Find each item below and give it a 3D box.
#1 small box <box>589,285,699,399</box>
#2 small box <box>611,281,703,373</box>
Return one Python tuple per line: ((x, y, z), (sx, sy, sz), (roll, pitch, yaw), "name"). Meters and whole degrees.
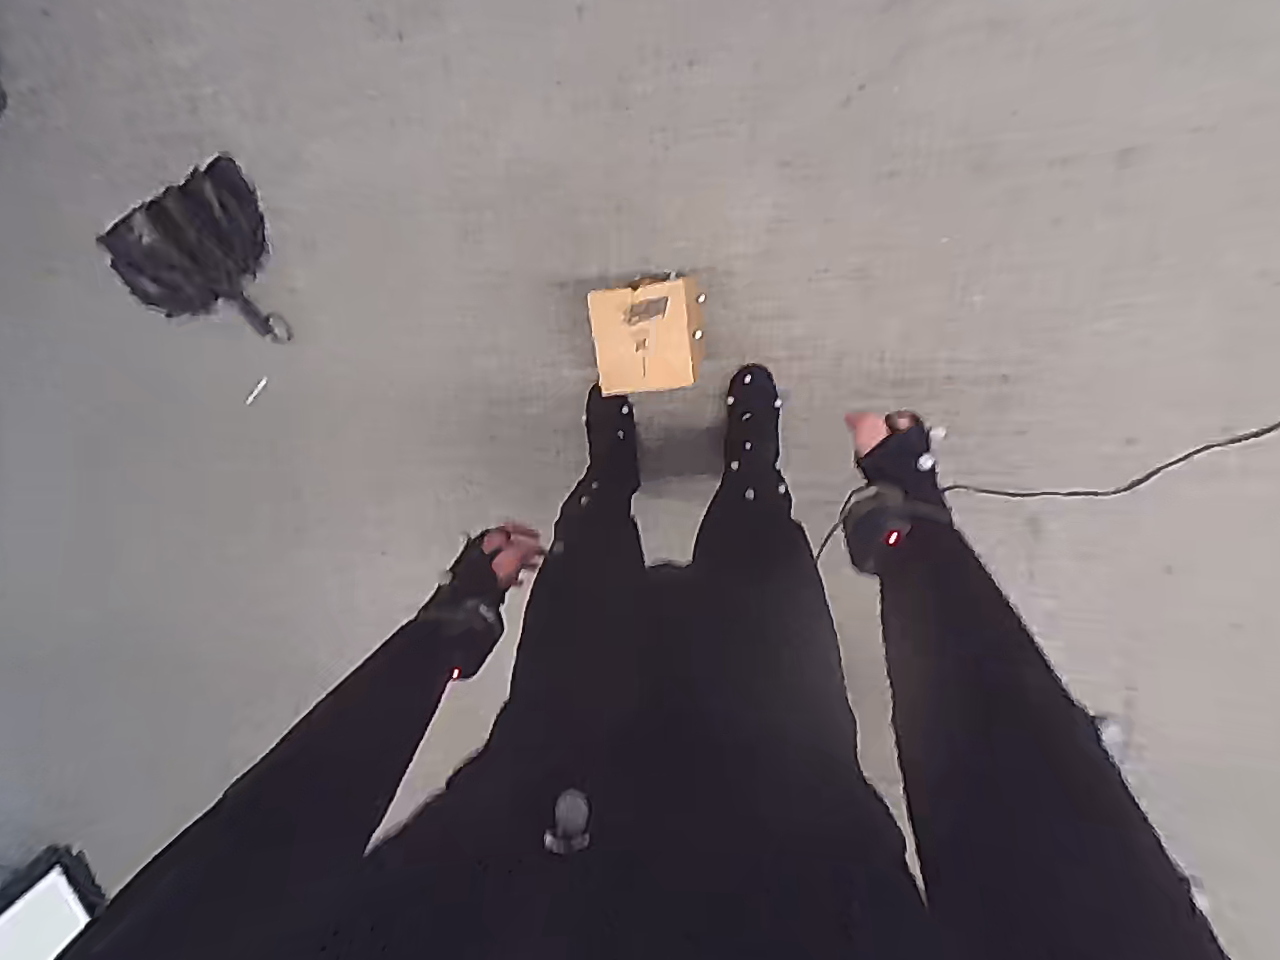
((0.015, -0.256, 0.988), (0.168, 0.176, 0.179), (-4, 110, 11), "small box")
((0.042, -0.319, 1.137), (0.168, 0.176, 0.179), (-3, 111, 12), "small box")
